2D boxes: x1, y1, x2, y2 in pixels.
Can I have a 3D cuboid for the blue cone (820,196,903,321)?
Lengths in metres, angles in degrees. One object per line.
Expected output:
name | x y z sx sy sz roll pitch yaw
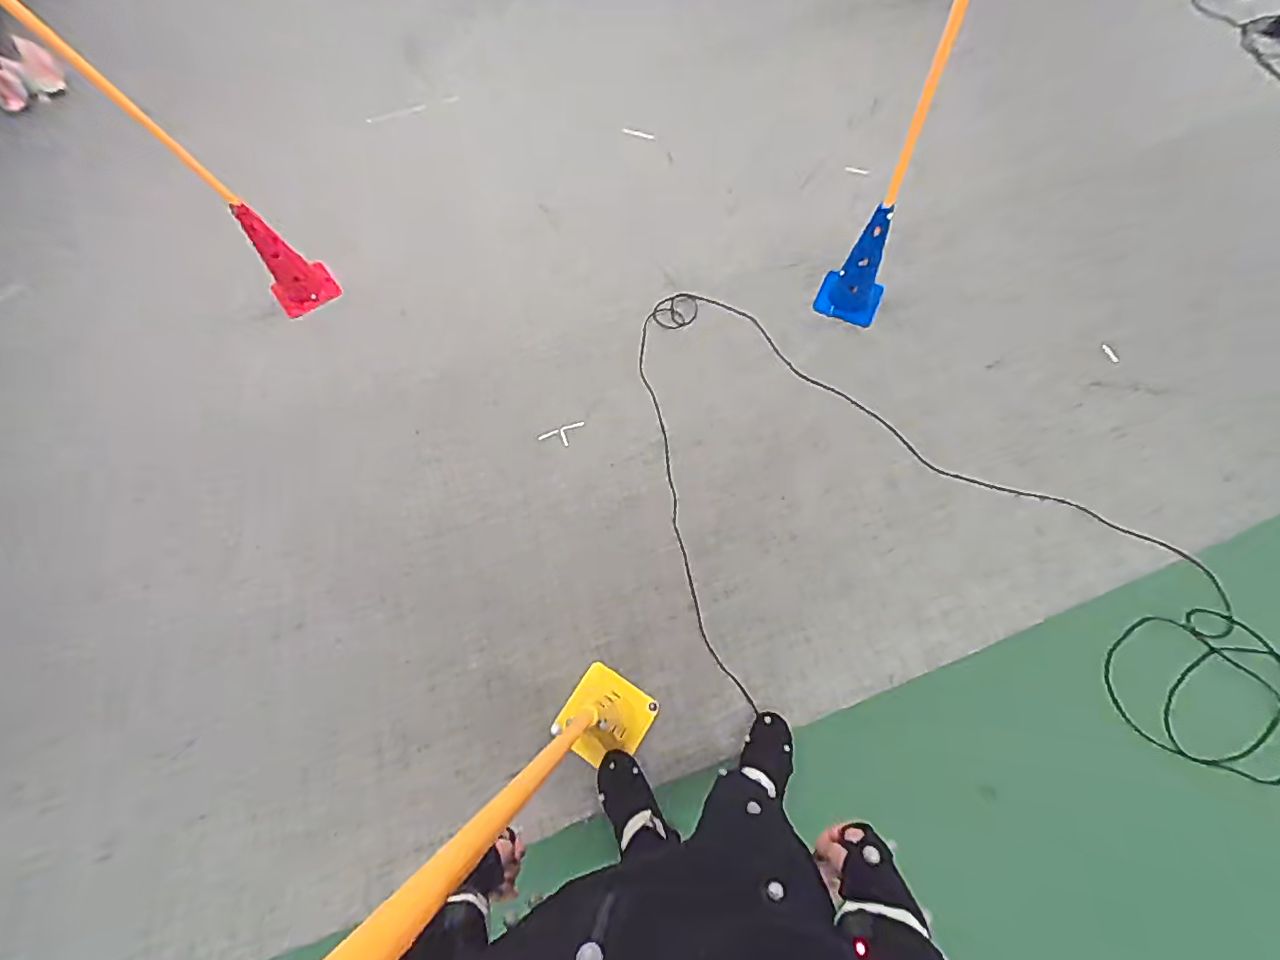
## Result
blue cone | 0.705 -0.691 1.659 0.192 0.380 0.193 22 66 12
